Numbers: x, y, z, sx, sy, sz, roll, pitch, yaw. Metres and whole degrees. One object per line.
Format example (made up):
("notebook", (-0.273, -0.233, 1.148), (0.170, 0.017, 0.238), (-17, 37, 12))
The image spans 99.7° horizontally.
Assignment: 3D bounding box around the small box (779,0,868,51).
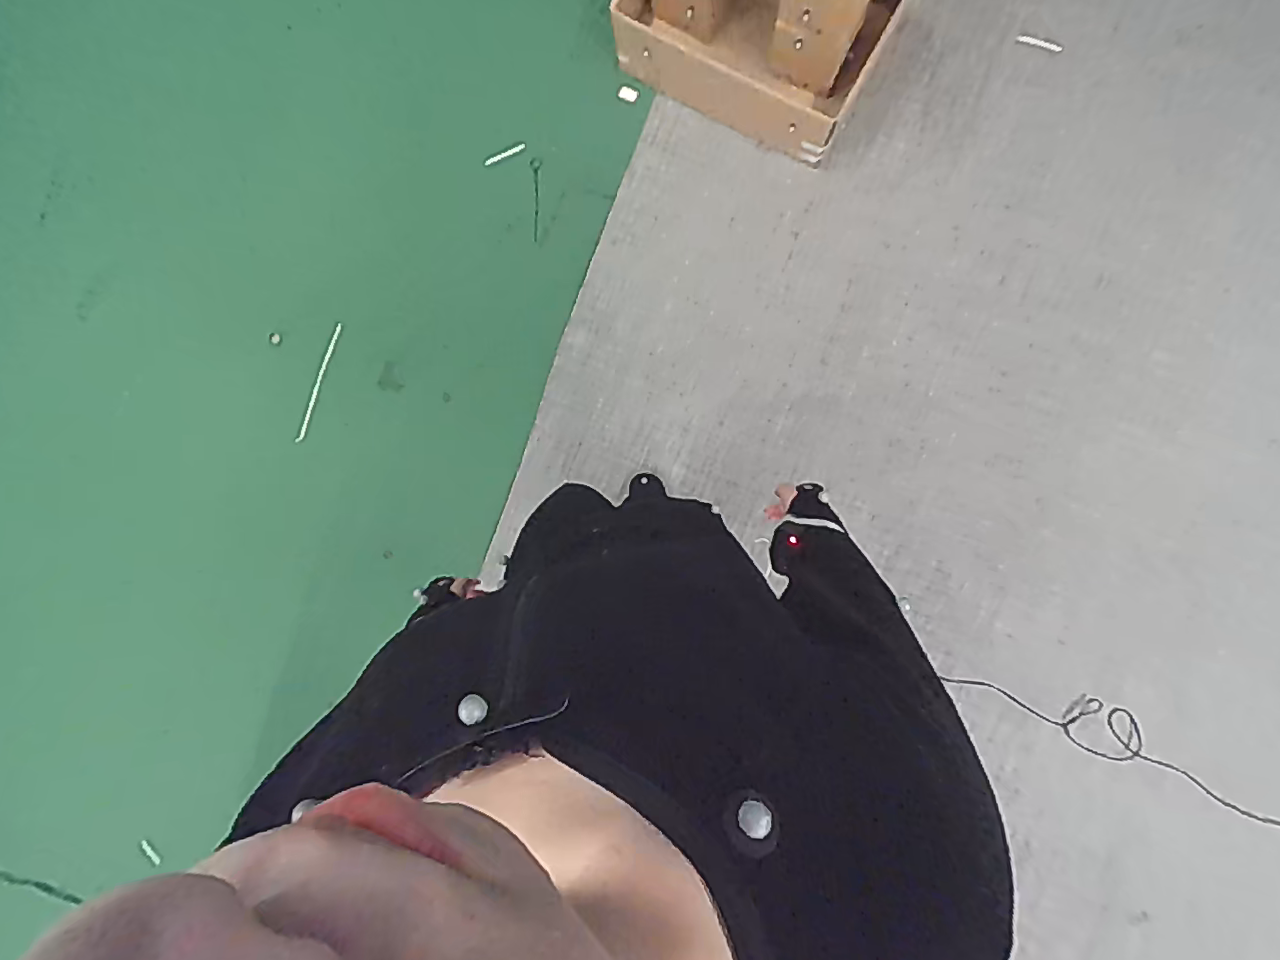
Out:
("small box", (0.405, -1.061, 1.122), (0.168, 0.176, 0.179), (29, 96, 5))
